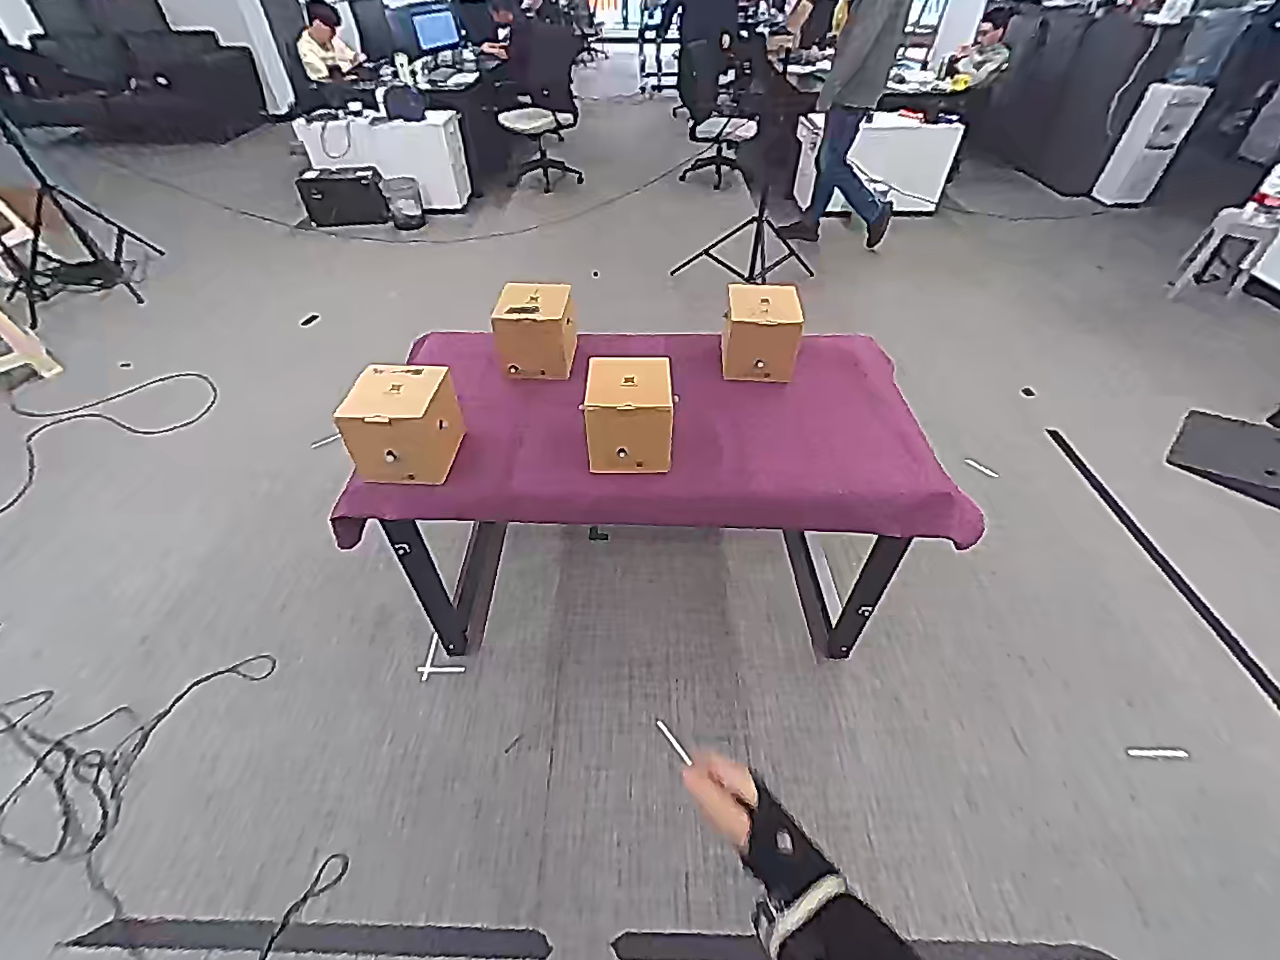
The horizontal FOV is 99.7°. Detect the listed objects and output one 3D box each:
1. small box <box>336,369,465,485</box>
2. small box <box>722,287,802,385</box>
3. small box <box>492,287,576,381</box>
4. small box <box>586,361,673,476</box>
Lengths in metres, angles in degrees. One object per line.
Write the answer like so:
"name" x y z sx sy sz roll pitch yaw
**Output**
"small box" -0.468 -0.105 1.092 0.168 0.176 0.179 2 45 1
"small box" 0.295 -0.360 1.349 0.168 0.176 0.179 2 47 3
"small box" -0.255 -0.363 1.353 0.168 0.176 0.179 2 45 2
"small box" -0.021 -0.129 1.122 0.168 0.176 0.179 0 44 -1
